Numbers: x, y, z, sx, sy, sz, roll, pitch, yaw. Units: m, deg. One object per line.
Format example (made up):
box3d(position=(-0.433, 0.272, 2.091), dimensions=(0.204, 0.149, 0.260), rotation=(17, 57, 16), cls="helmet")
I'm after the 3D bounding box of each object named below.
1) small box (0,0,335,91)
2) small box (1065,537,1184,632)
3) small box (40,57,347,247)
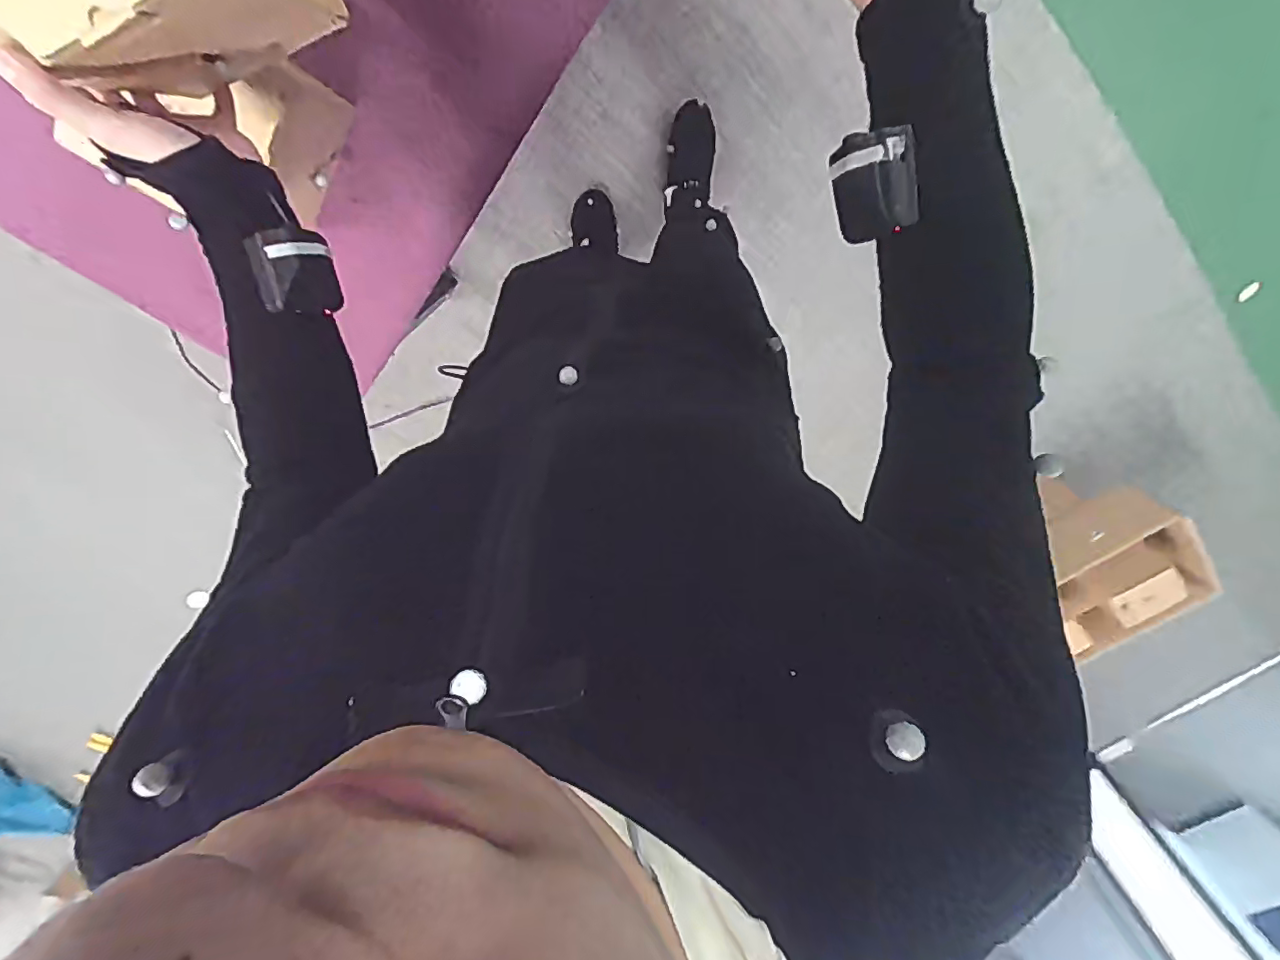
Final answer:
box3d(position=(-0.348, -0.384, 0.348), dimensions=(0.168, 0.176, 0.179), rotation=(-15, 121, 11), cls="small box")
box3d(position=(1.399, 0.299, 1.570), dimensions=(0.179, 0.176, 0.168), rotation=(-40, 116, 17), cls="small box")
box3d(position=(-0.459, -0.381, 0.581), dimensions=(0.179, 0.176, 0.168), rotation=(30, 115, -19), cls="small box")
